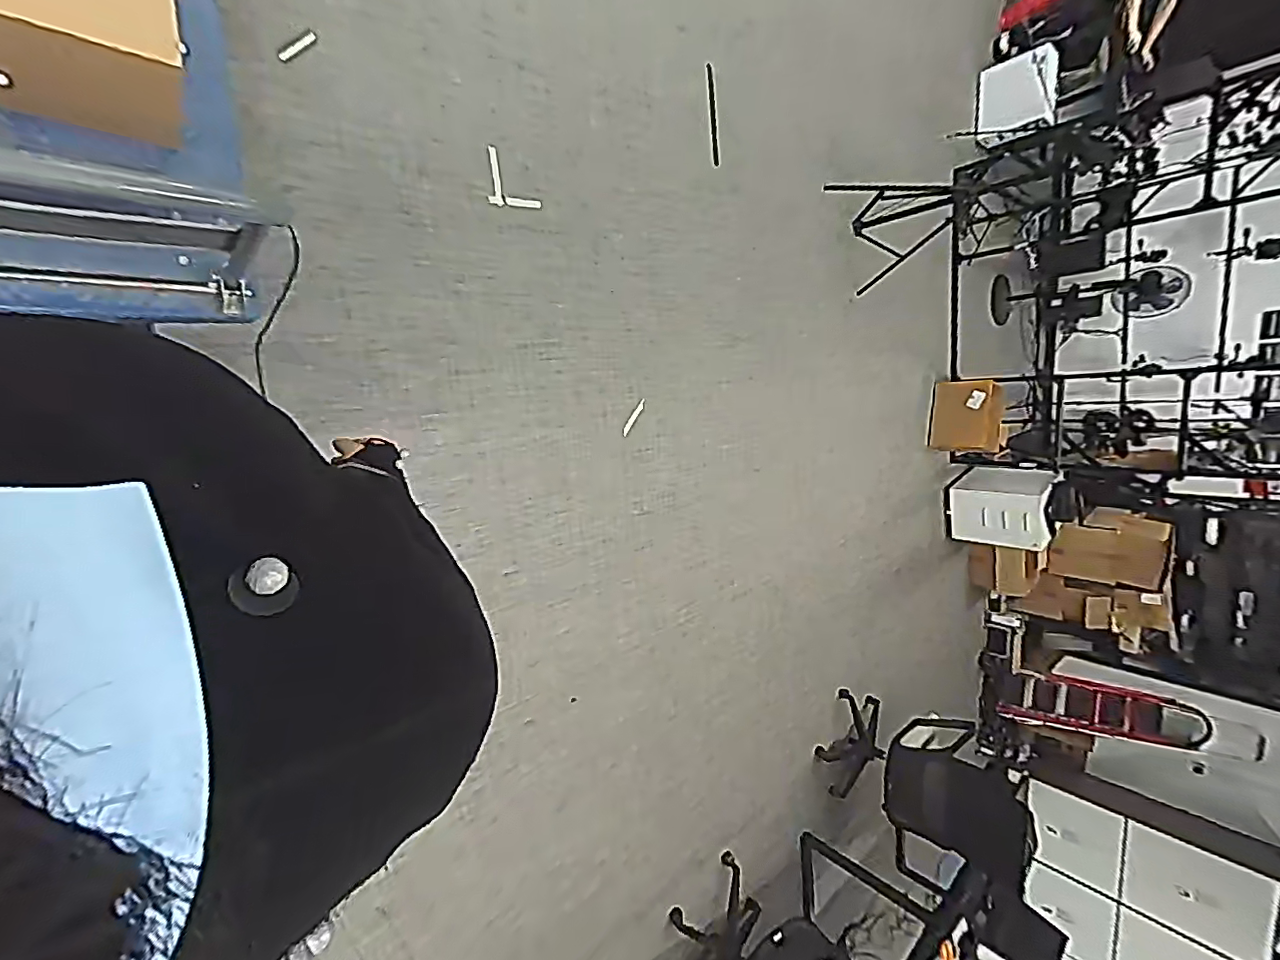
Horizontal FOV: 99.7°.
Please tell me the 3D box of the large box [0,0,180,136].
[{"bbox_3d":[-0.916,-0.742,0.740,0.408,0.320,0.320,-7,99,-39],"label":"large box"}]
